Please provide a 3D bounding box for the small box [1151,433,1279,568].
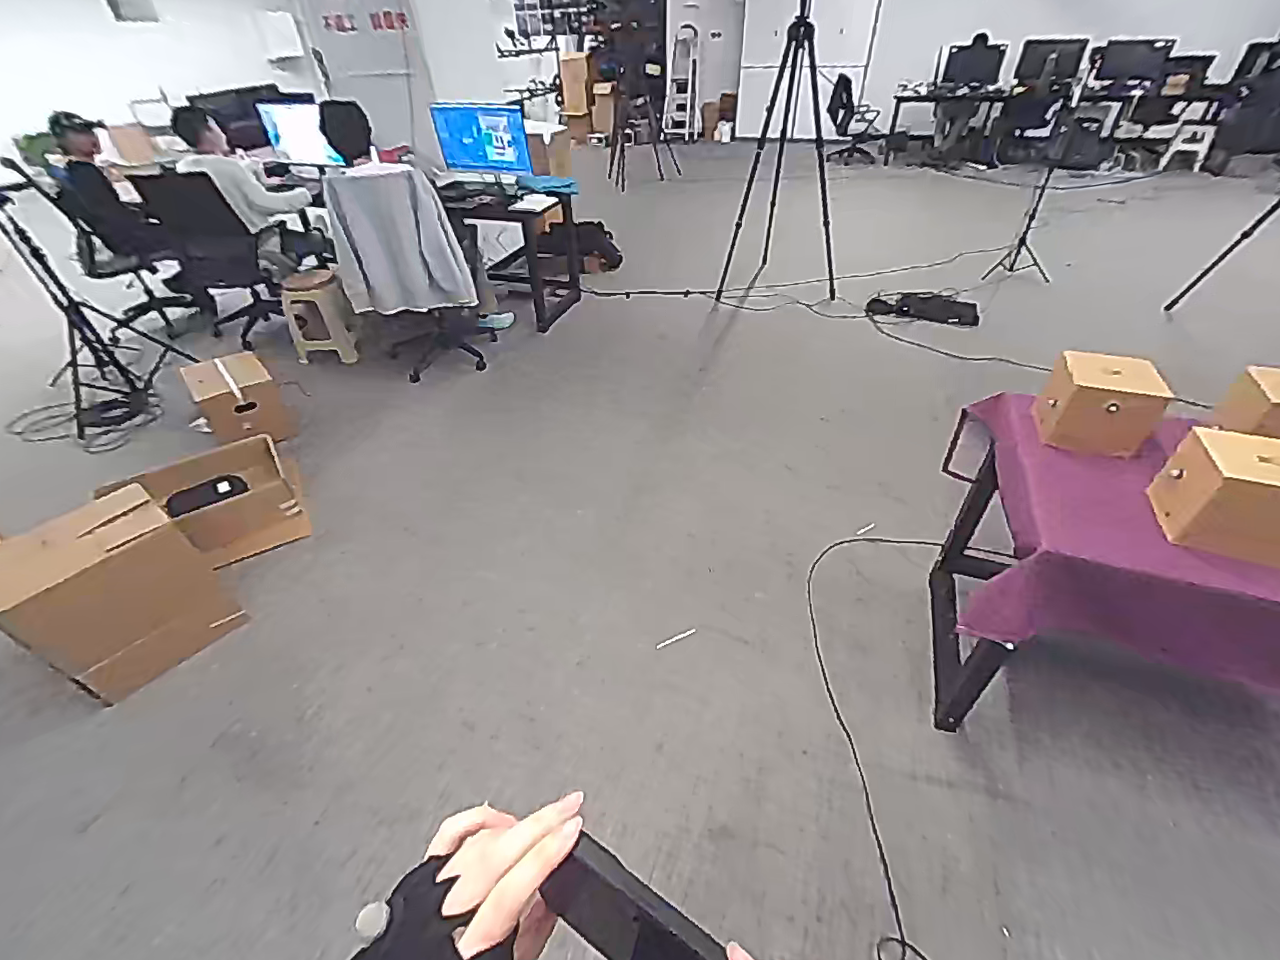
[{"bbox_3d":[1.105,0.038,1.004,0.179,0.176,0.168,14,42,18],"label":"small box"}]
